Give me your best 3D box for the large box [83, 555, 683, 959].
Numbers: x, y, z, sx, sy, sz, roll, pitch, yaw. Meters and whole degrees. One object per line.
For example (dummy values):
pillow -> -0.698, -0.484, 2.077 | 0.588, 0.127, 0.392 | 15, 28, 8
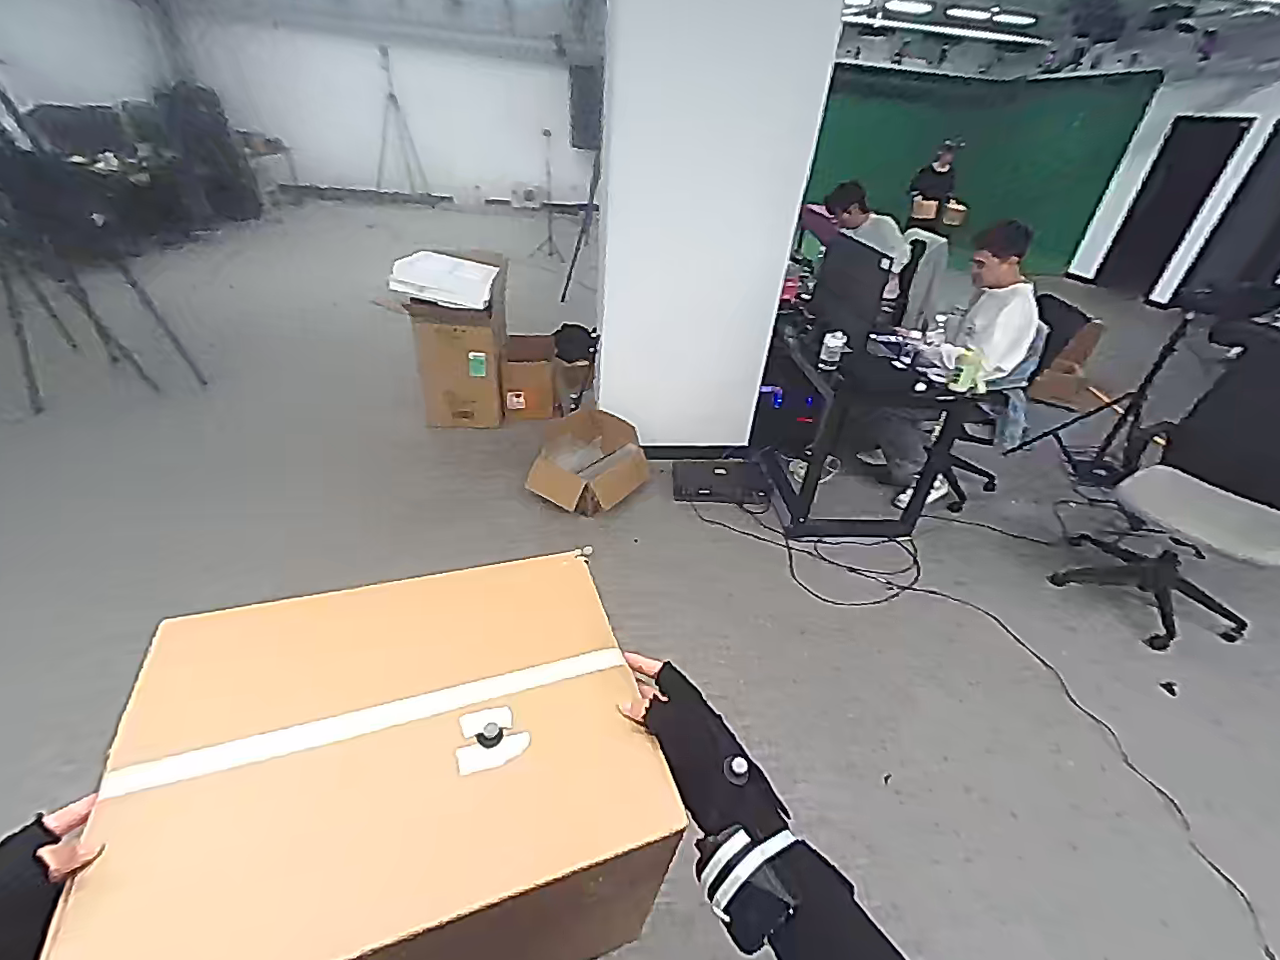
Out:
large box -> -0.220, 0.324, 0.567 | 0.408, 0.320, 0.320 | -7, 40, -22
